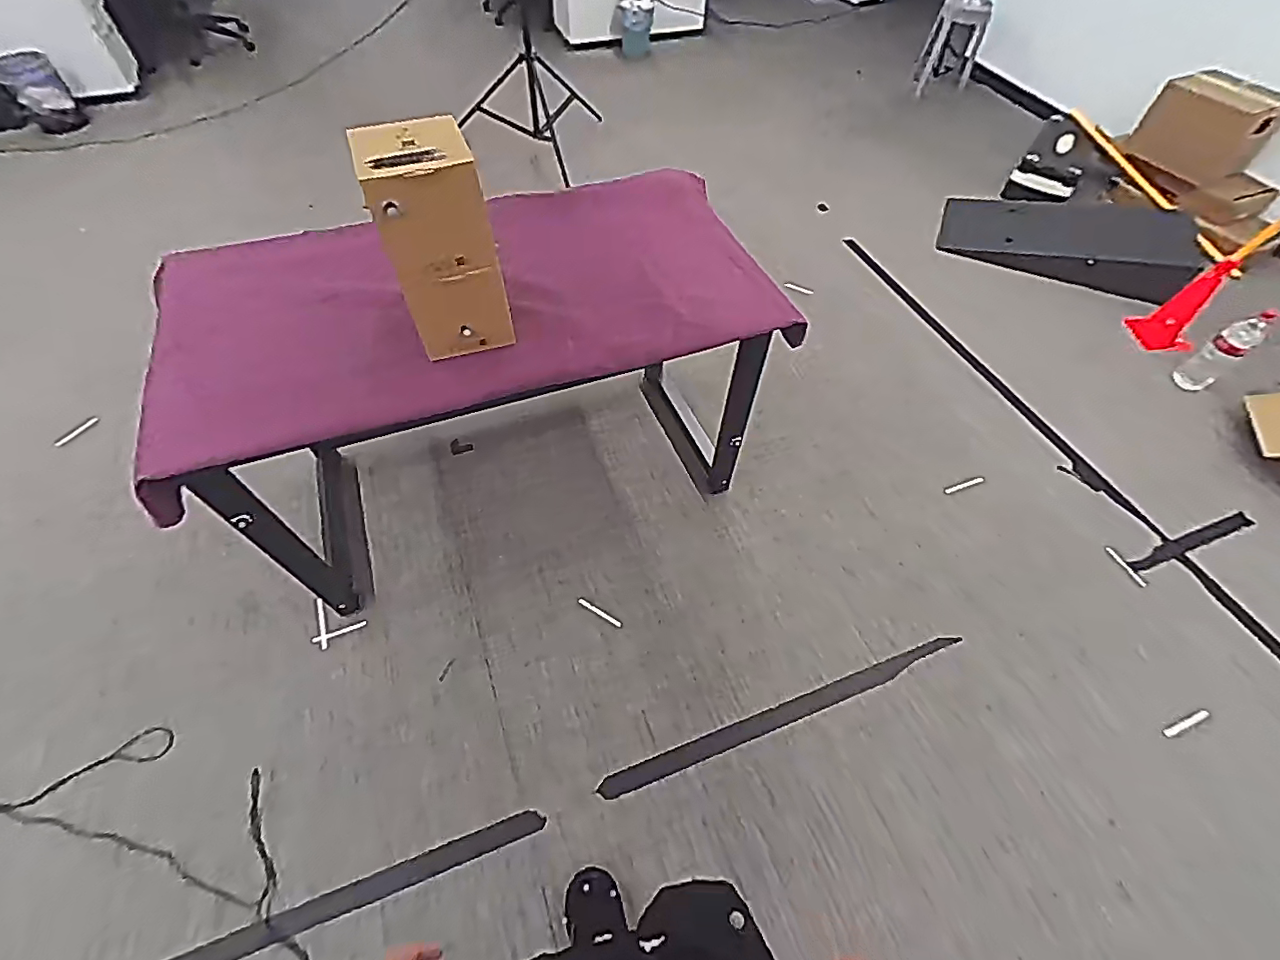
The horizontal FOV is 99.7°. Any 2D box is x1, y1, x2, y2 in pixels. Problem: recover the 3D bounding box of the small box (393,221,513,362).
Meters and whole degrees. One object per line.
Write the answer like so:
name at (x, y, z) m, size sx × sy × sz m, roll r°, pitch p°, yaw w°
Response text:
small box at (-0.346, -0.352, 1.014) m, size 0.168 × 0.176 × 0.179 m, roll -16°, pitch 57°, yaw -12°
